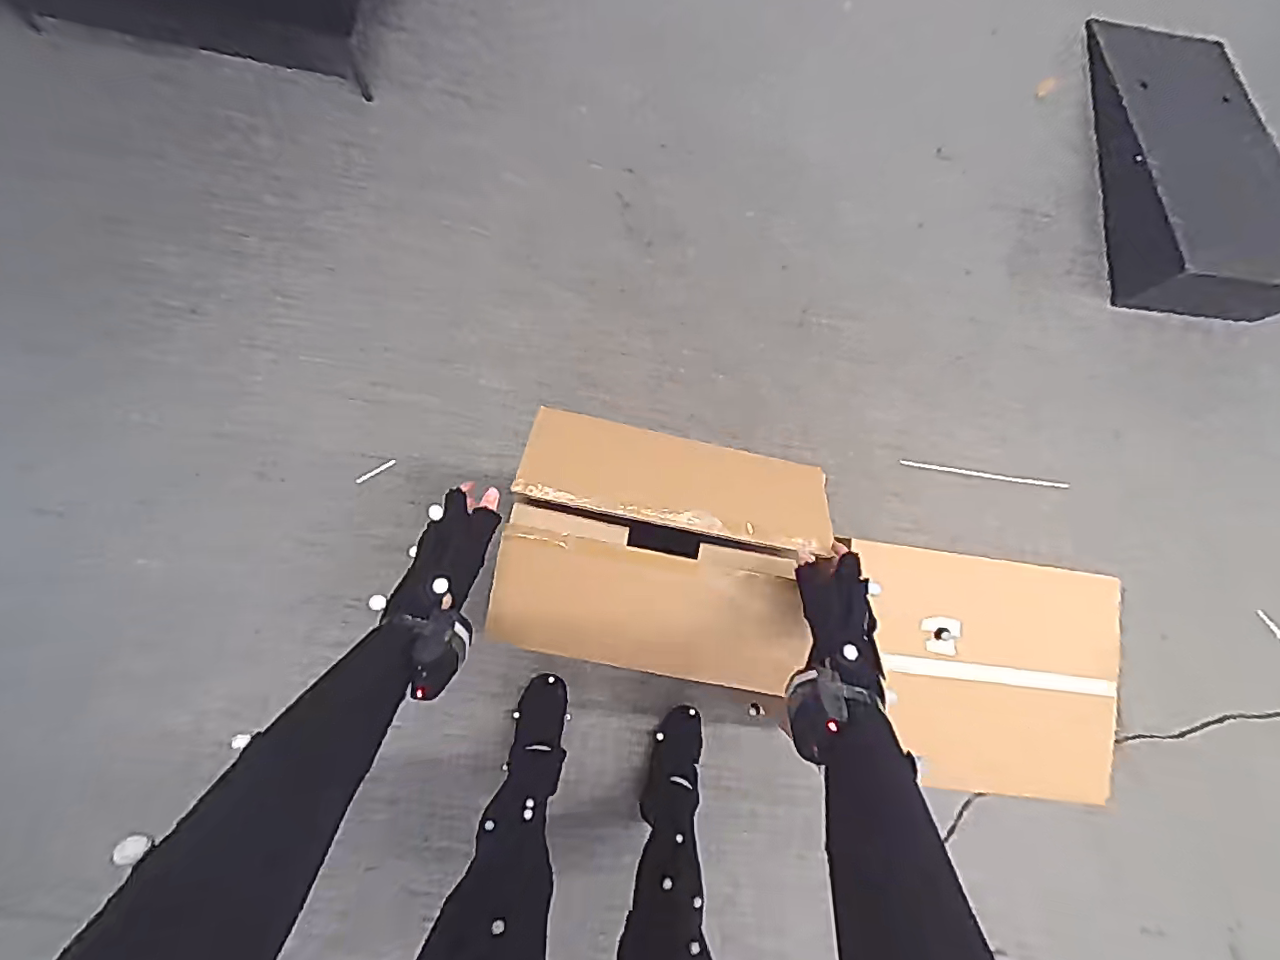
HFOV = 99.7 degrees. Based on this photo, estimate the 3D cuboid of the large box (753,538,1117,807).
[{"bbox_3d":[0.432,0.273,0.867,0.408,0.320,0.320,8,84,-4],"label":"large box"}]
